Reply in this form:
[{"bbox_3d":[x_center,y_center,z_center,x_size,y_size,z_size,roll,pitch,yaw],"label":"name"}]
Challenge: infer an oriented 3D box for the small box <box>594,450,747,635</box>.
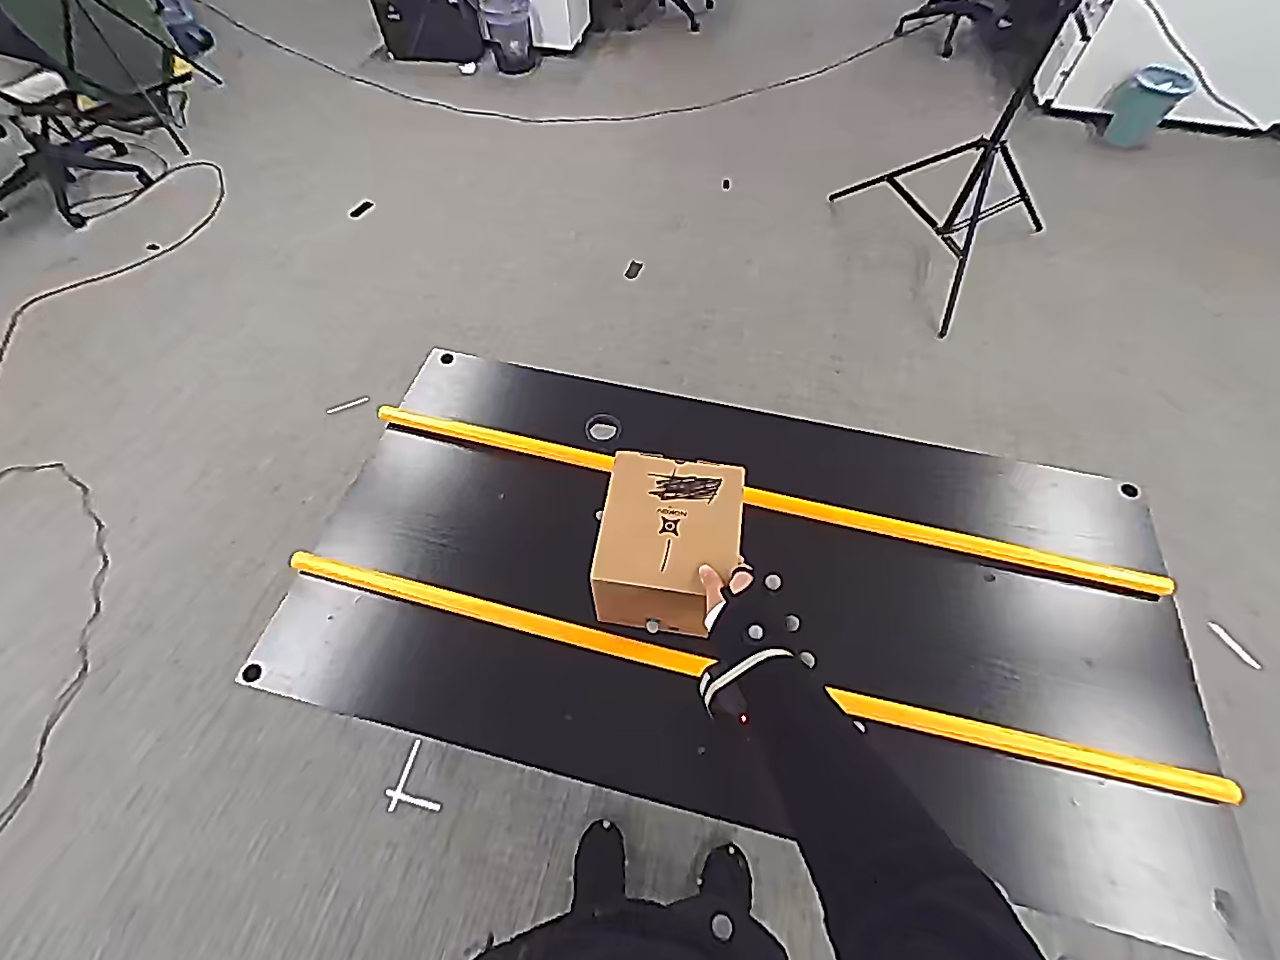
[{"bbox_3d":[0.040,0.087,0.711,0.168,0.176,0.179,8,60,5],"label":"small box"}]
